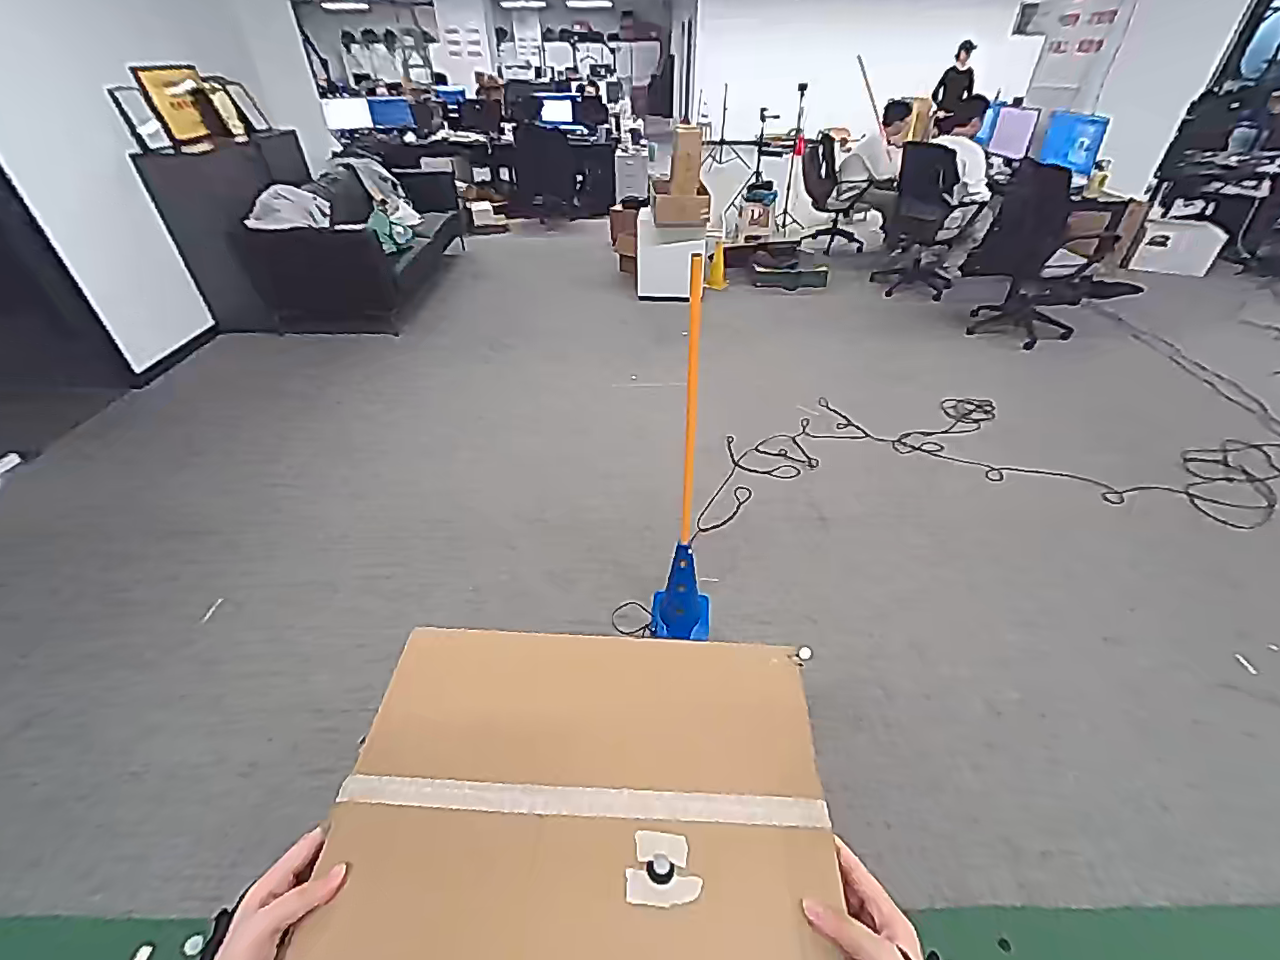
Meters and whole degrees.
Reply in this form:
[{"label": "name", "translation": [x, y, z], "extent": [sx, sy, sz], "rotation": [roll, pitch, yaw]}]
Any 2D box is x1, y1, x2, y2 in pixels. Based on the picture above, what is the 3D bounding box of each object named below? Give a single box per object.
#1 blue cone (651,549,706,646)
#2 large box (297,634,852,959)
[{"label": "blue cone", "translation": [0.134, 0.362, 1.779], "extent": [0.193, 0.380, 0.192], "rotation": [5, 38, 7]}, {"label": "large box", "translation": [-0.047, 0.385, 0.562], "extent": [0.408, 0.320, 0.320], "rotation": [3, 43, 1]}]
